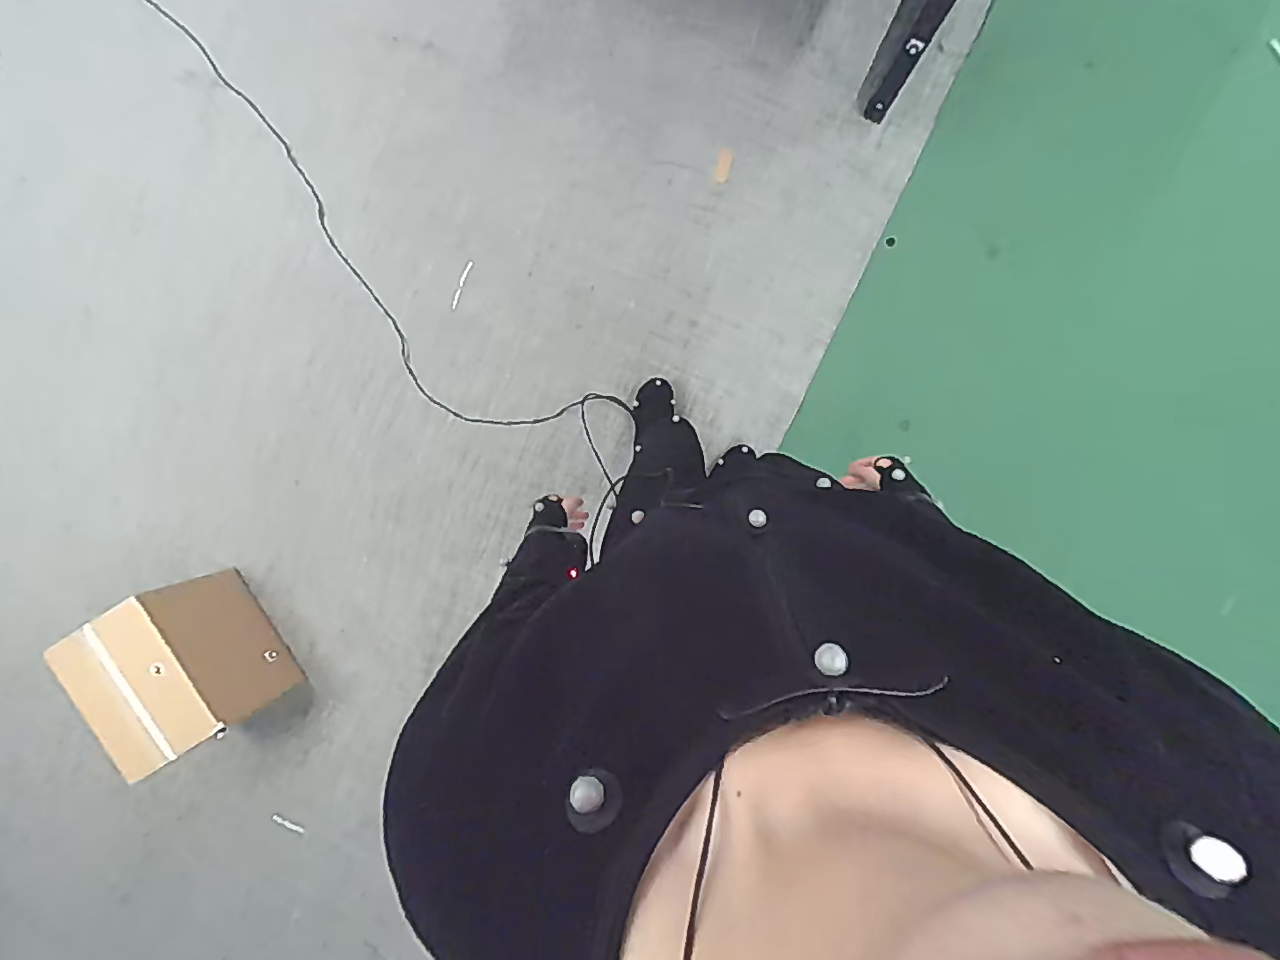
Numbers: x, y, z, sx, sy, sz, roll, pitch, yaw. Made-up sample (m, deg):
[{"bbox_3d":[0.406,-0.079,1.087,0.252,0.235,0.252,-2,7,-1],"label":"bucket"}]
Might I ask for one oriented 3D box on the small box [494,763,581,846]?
[{"bbox_3d":[-0.235,0.763,1.188,0.168,0.176,0.179,16,95,3],"label":"small box"}]
